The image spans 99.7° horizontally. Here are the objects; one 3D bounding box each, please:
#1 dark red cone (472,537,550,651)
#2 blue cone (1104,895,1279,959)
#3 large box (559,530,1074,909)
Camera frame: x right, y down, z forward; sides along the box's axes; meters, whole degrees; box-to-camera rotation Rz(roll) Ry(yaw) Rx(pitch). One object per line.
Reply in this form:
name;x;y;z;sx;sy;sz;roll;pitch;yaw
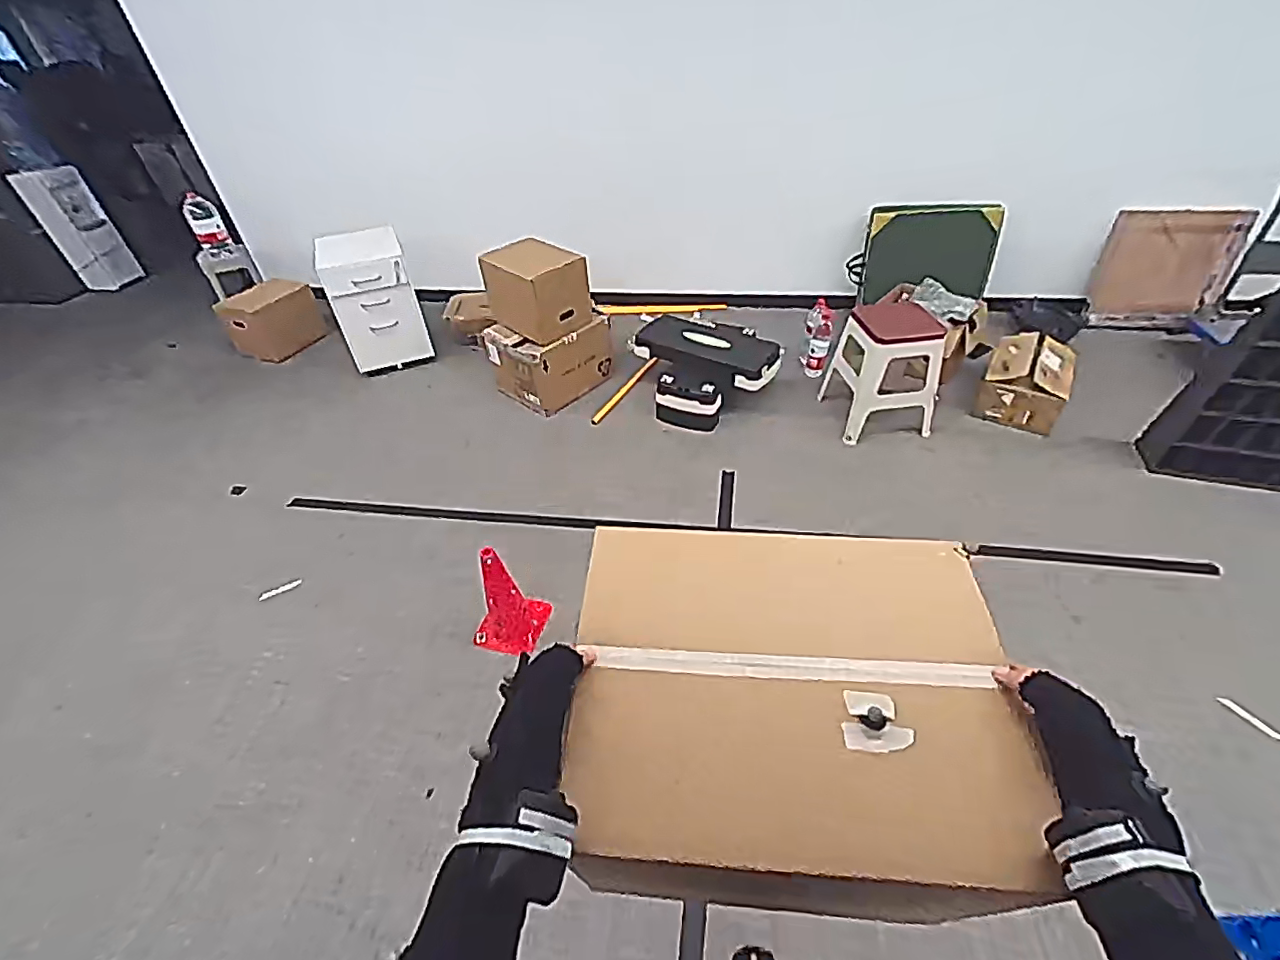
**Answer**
dark red cone;-0.409;0.315;1.595;0.201;0.394;0.202;9;43;12
blue cone;1.050;0.832;0.967;0.192;0.380;0.193;7;43;10
large box;0.142;0.276;0.626;0.408;0.320;0.320;2;48;4
